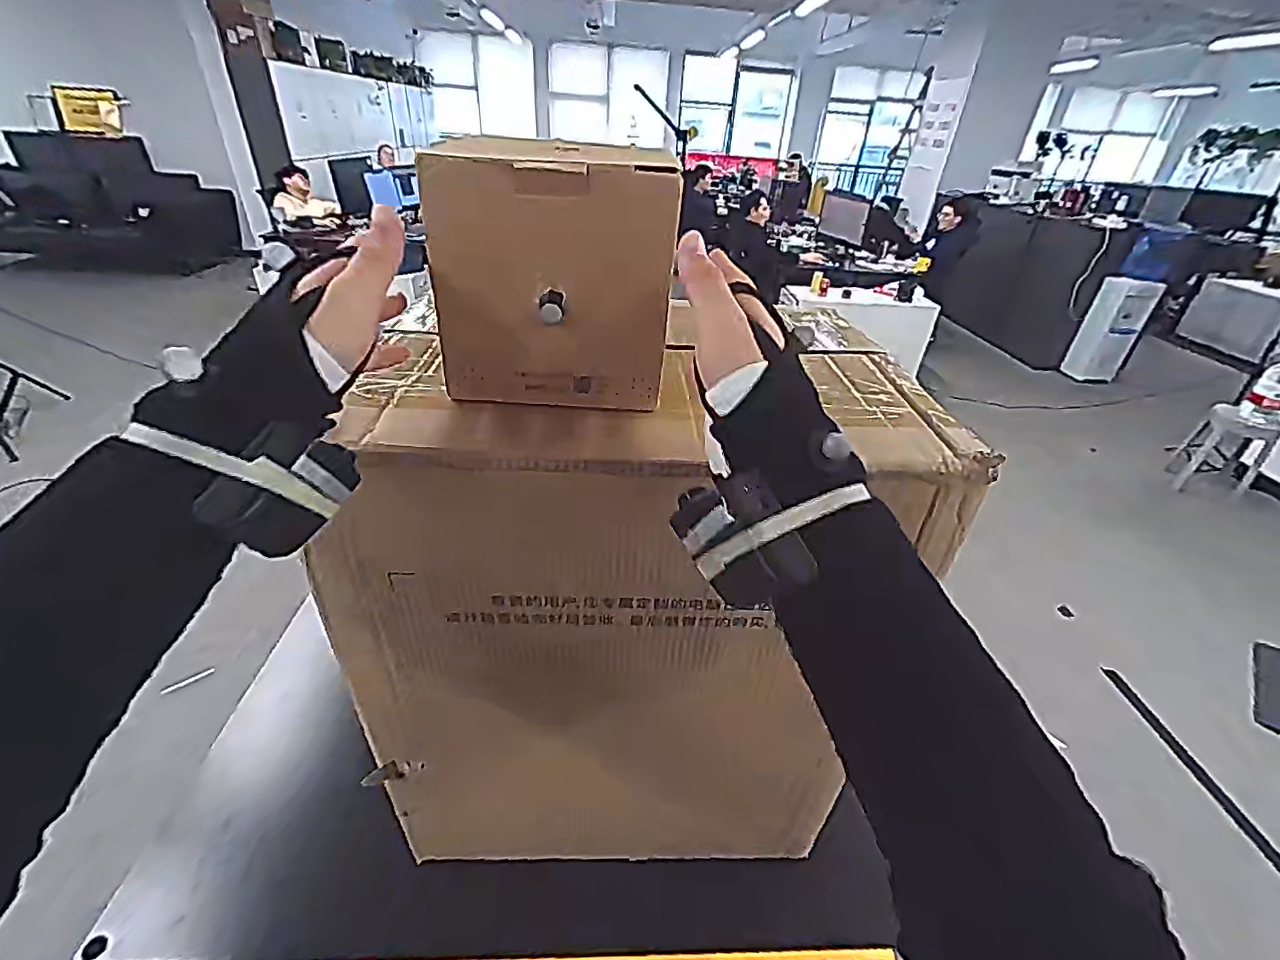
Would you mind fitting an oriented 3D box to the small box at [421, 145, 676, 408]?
[{"bbox_3d":[-0.061,-0.172,0.453,0.168,0.176,0.179,3,35,-3],"label":"small box"}]
